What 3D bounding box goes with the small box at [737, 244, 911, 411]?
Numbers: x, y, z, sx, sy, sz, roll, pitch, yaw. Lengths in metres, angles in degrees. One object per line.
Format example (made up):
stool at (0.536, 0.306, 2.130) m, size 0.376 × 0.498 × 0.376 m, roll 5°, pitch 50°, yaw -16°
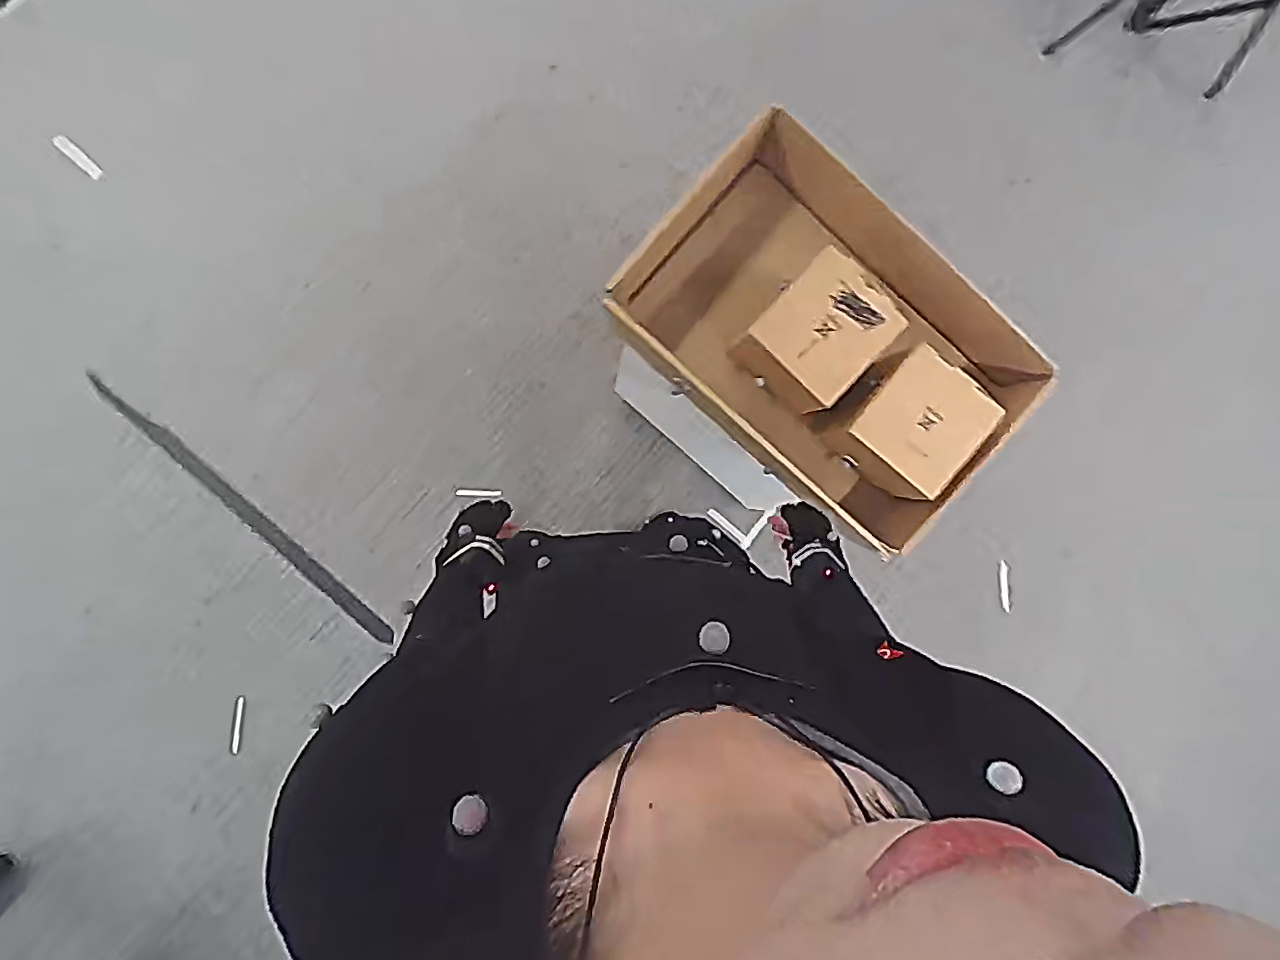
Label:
small box at (0.279, -0.230, 0.867) m, size 0.168 × 0.176 × 0.179 m, roll 43°, pitch 91°, yaw -3°
